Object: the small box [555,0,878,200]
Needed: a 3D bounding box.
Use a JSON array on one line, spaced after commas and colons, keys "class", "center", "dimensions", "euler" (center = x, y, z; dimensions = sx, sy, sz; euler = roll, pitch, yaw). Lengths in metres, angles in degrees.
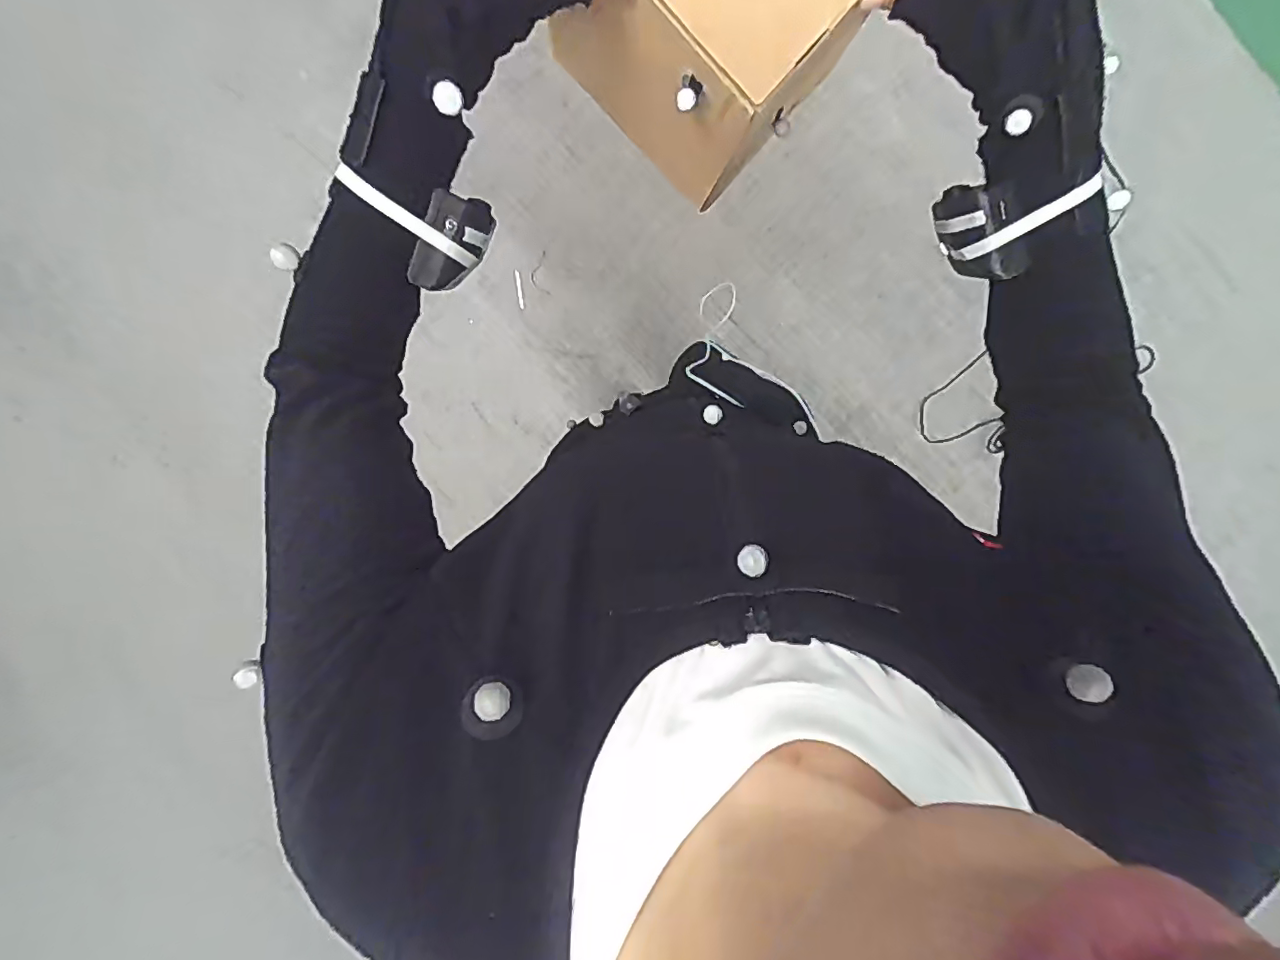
[{"class": "small box", "center": [0.051, -0.340, 0.377], "dimensions": [0.179, 0.176, 0.168], "euler": [43, 92, -10]}]
